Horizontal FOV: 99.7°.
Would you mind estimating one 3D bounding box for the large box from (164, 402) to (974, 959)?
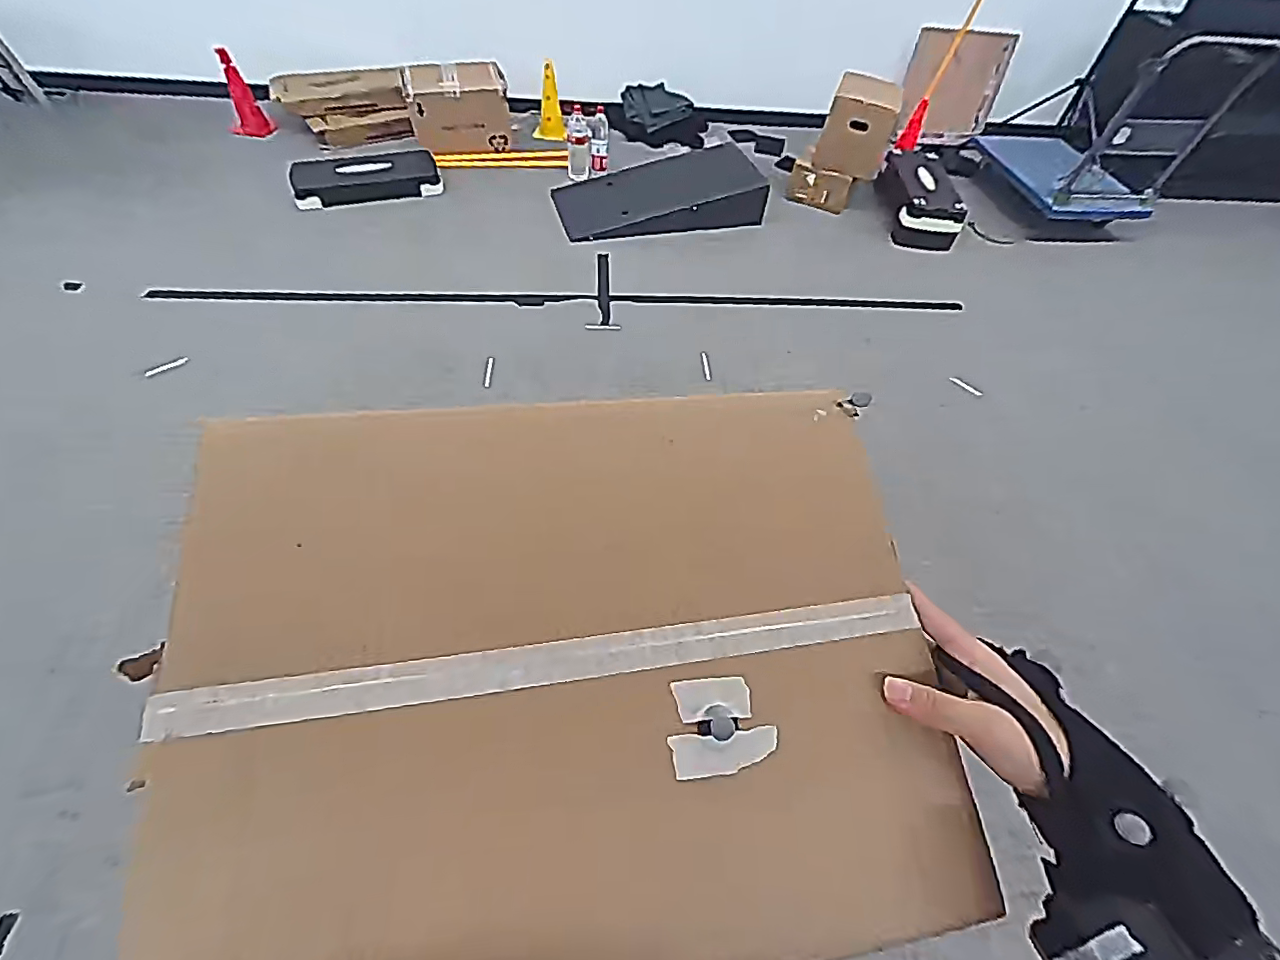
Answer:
[{"bbox_3d":[-0.053,0.154,0.445,0.408,0.320,0.320,-4,70,-12],"label":"large box"}]
